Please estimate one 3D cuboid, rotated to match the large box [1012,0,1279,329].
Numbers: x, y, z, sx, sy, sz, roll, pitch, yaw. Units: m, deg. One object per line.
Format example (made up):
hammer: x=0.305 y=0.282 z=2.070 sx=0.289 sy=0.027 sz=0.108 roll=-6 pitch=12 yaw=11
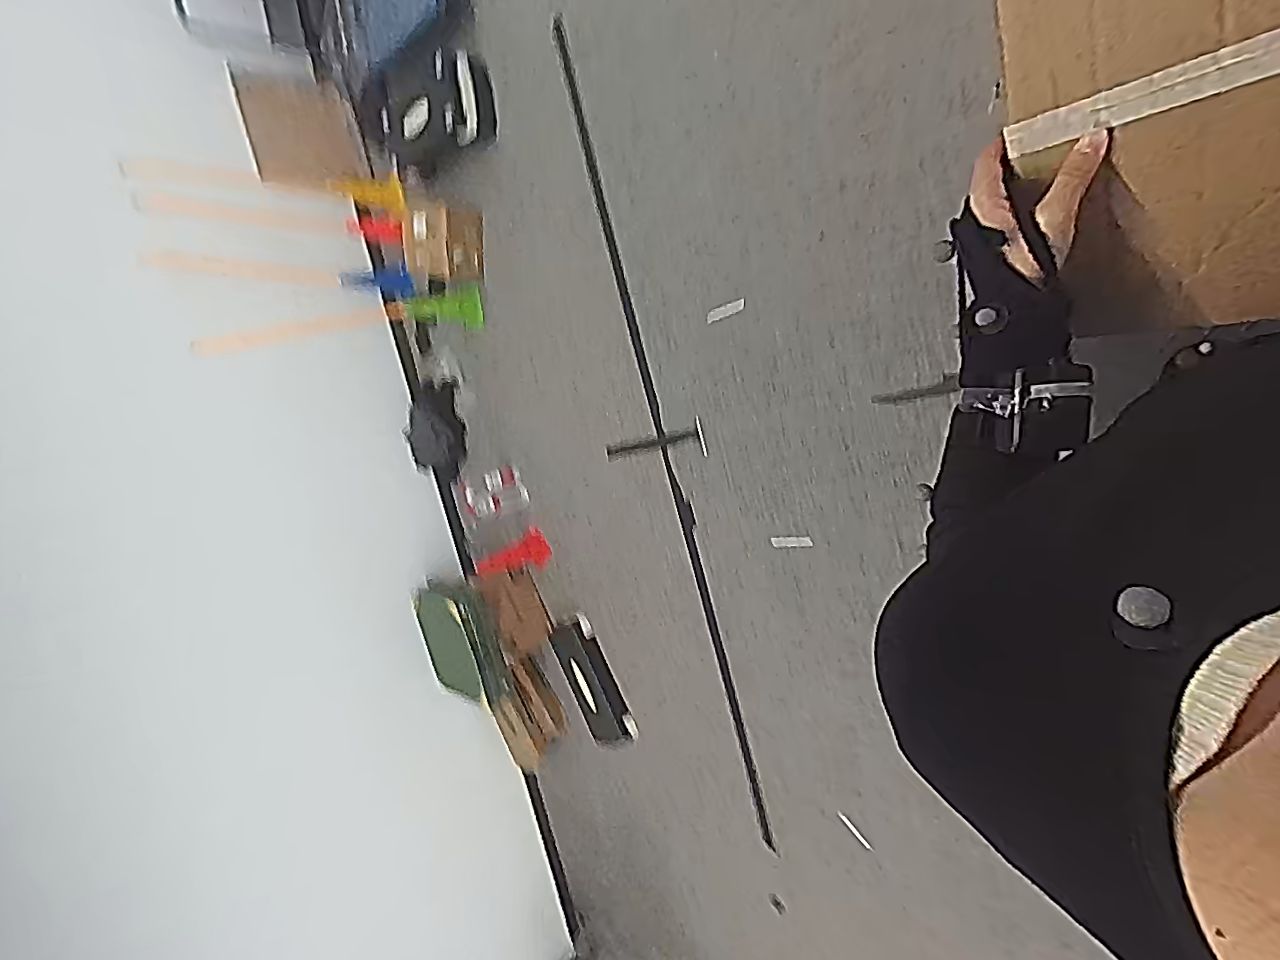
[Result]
large box: x=0.487 y=-0.317 z=0.292 sx=0.408 sy=0.320 sz=0.320 roll=8 pitch=135 yaw=49
